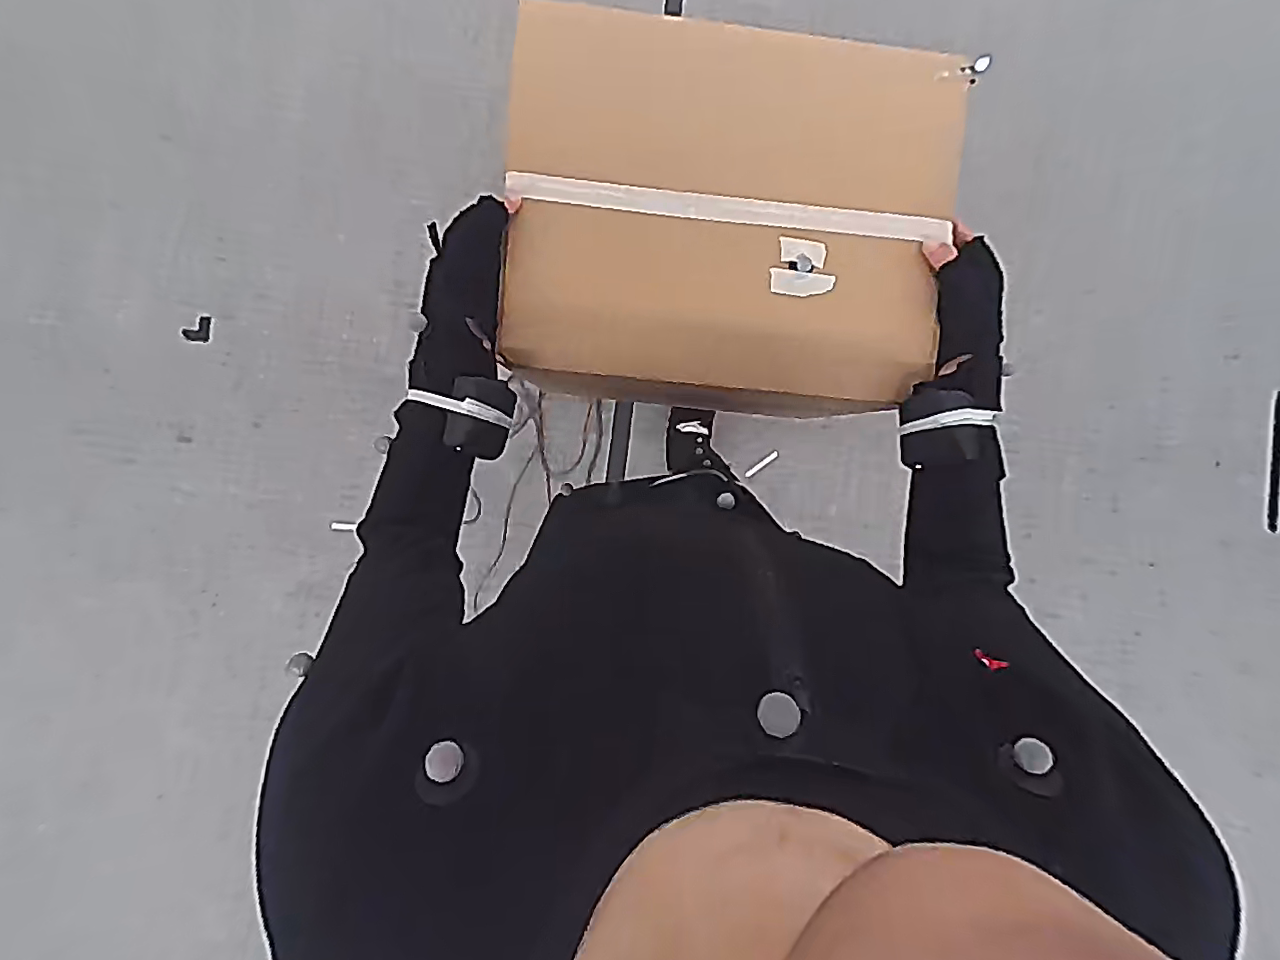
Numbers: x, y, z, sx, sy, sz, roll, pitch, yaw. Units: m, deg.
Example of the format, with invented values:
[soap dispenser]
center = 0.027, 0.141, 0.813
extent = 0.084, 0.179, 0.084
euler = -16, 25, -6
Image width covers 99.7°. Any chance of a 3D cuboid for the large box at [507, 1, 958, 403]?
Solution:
[large box]
center = 0.075, -0.269, 0.647
extent = 0.408, 0.320, 0.320
euler = 6, 96, -4
